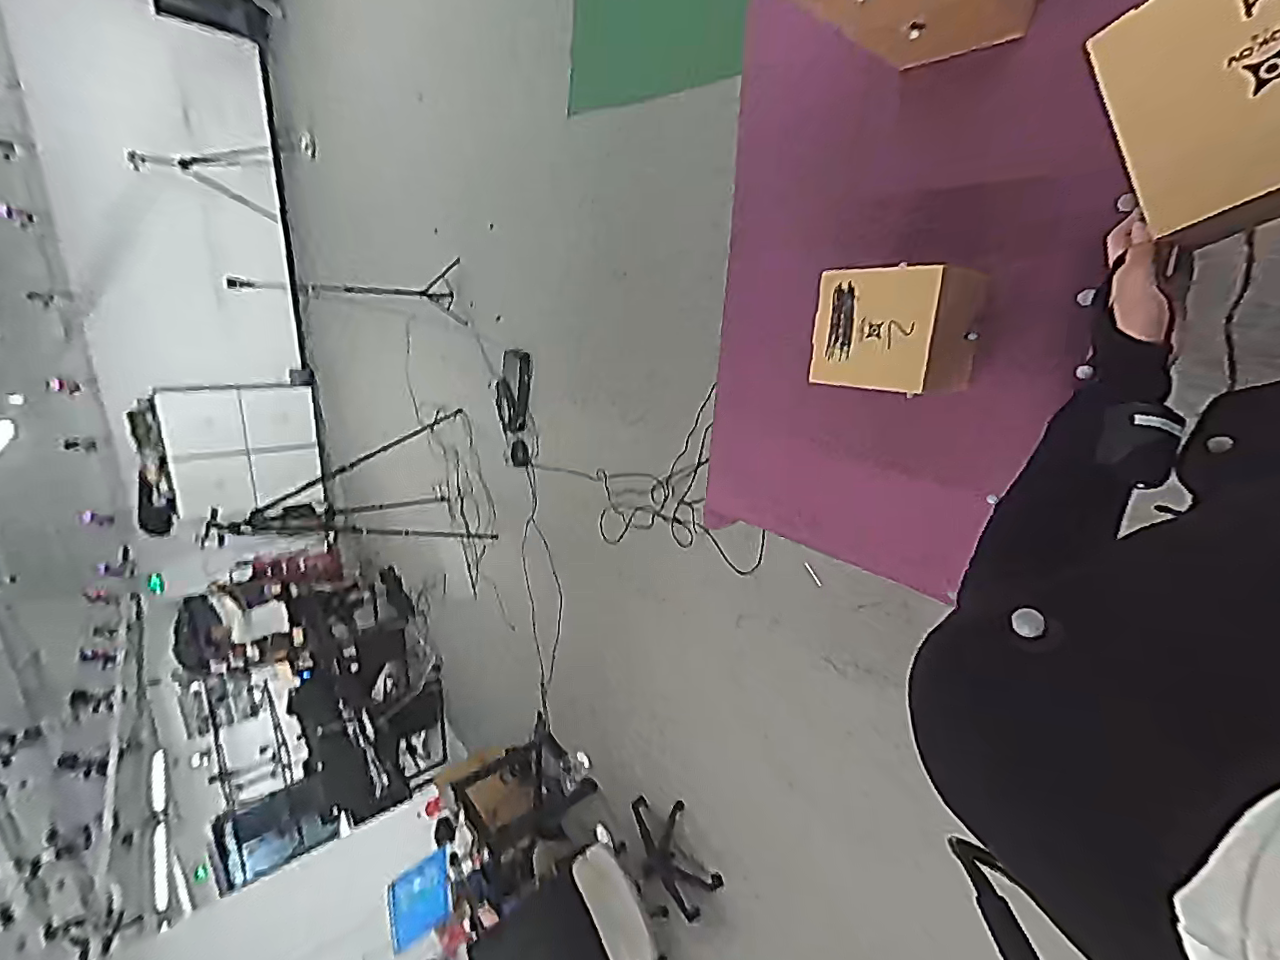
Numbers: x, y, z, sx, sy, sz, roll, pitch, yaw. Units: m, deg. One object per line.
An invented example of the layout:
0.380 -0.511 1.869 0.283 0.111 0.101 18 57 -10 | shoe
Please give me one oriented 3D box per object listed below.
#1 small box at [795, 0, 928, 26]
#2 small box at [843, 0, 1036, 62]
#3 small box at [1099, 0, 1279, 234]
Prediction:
0.272 -0.643 0.591 0.179 0.176 0.168 25 119 47 | small box
0.396 -0.673 0.693 0.179 0.176 0.168 25 119 46 | small box
0.497 -0.309 0.410 0.168 0.176 0.179 -17 87 54 | small box
